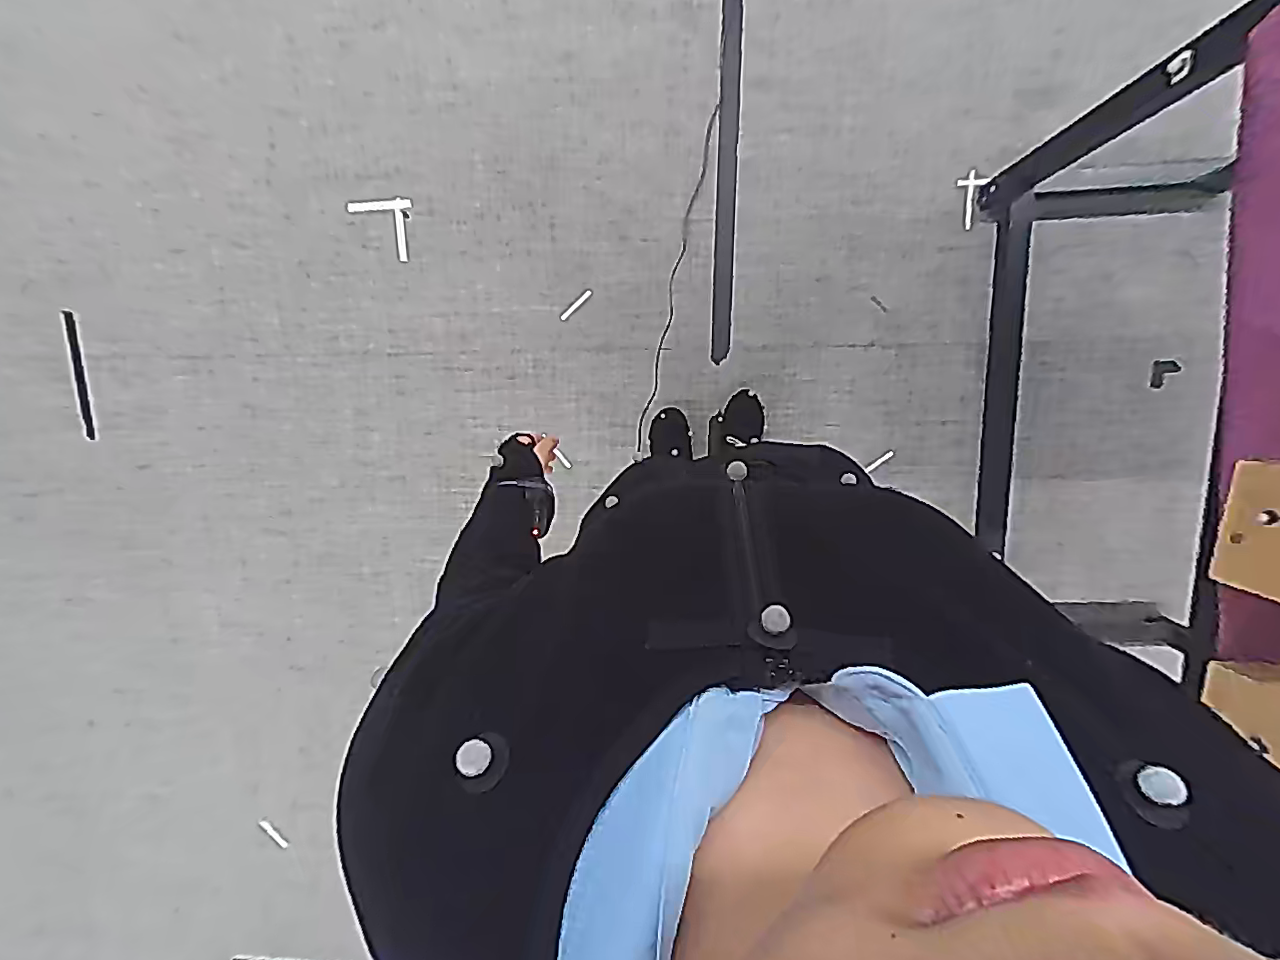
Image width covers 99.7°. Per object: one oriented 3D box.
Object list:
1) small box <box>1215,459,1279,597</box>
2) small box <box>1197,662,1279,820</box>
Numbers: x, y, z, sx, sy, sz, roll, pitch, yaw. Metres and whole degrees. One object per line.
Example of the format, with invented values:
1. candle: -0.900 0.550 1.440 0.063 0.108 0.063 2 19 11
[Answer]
1. small box: 0.859 0.070 0.631 0.179 0.176 0.168 5 99 4
2. small box: 0.865 0.342 0.670 0.179 0.176 0.168 3 99 1
